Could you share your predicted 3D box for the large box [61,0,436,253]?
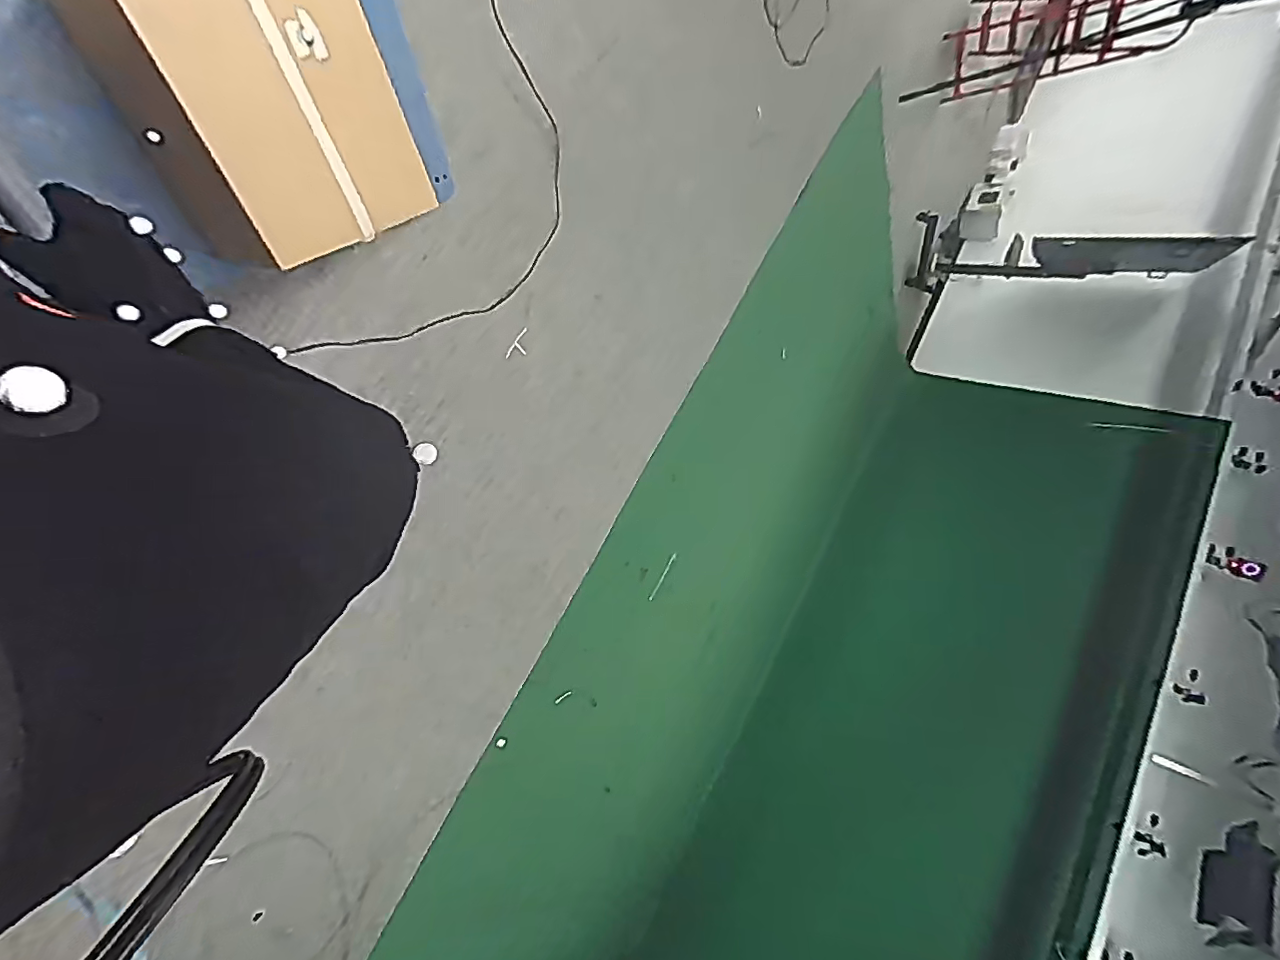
[{"bbox_3d":[-0.624,-0.636,0.894,0.320,0.320,0.408,-44,136,-31],"label":"large box"}]
